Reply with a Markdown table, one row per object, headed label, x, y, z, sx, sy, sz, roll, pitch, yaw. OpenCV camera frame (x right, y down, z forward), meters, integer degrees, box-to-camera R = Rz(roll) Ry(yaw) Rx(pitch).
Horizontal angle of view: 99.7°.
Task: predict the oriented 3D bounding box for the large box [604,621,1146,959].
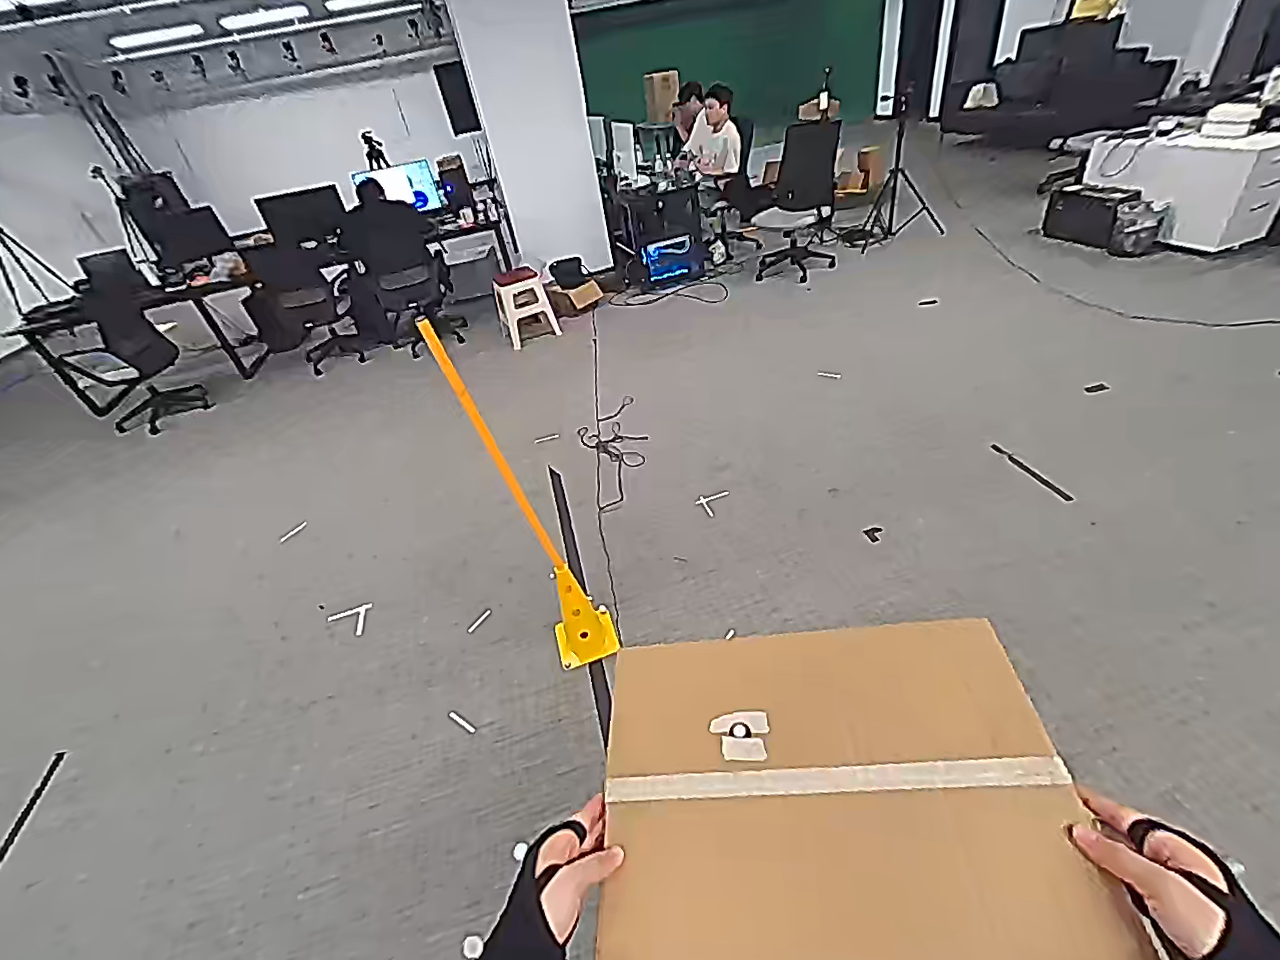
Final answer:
| label | x | y | z | sx | sy | sz | roll | pitch | yaw |
| --- | --- | --- | --- | --- | --- | --- | --- | --- | --- |
| large box | 0.202 | 0.393 | 0.601 | 0.408 | 0.320 | 0.320 | -9 | 40 | 10 |
